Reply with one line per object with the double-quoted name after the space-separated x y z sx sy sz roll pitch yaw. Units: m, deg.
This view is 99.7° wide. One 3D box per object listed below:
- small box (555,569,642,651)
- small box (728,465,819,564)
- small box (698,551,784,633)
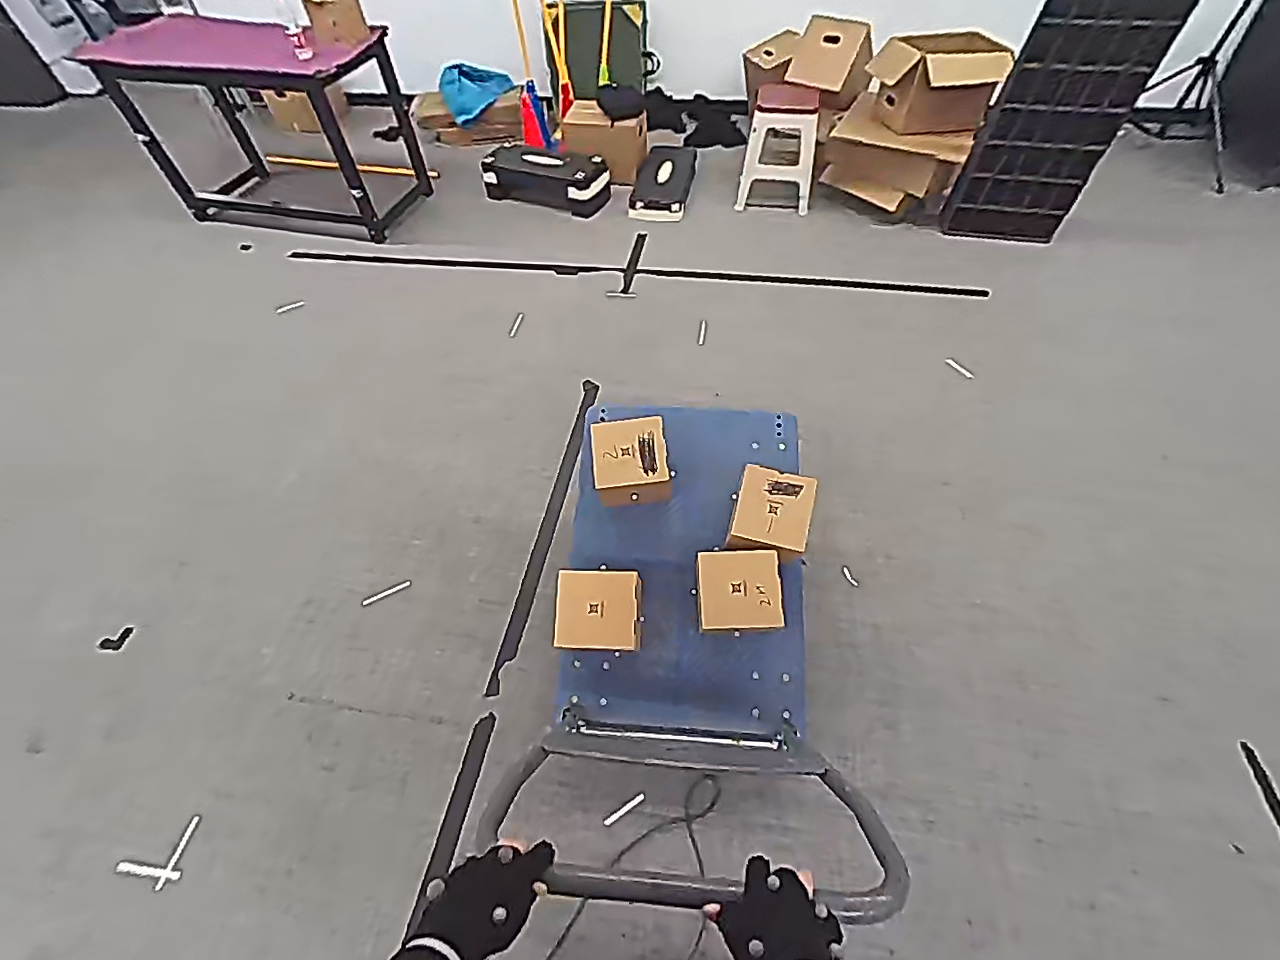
-0.089 0.303 1.244 0.179 0.176 0.168 1 72 2 "small box"
0.311 0.087 1.287 0.168 0.176 0.179 14 74 9 "small box"
0.222 0.260 1.235 0.179 0.176 0.168 -2 72 4 "small box"
